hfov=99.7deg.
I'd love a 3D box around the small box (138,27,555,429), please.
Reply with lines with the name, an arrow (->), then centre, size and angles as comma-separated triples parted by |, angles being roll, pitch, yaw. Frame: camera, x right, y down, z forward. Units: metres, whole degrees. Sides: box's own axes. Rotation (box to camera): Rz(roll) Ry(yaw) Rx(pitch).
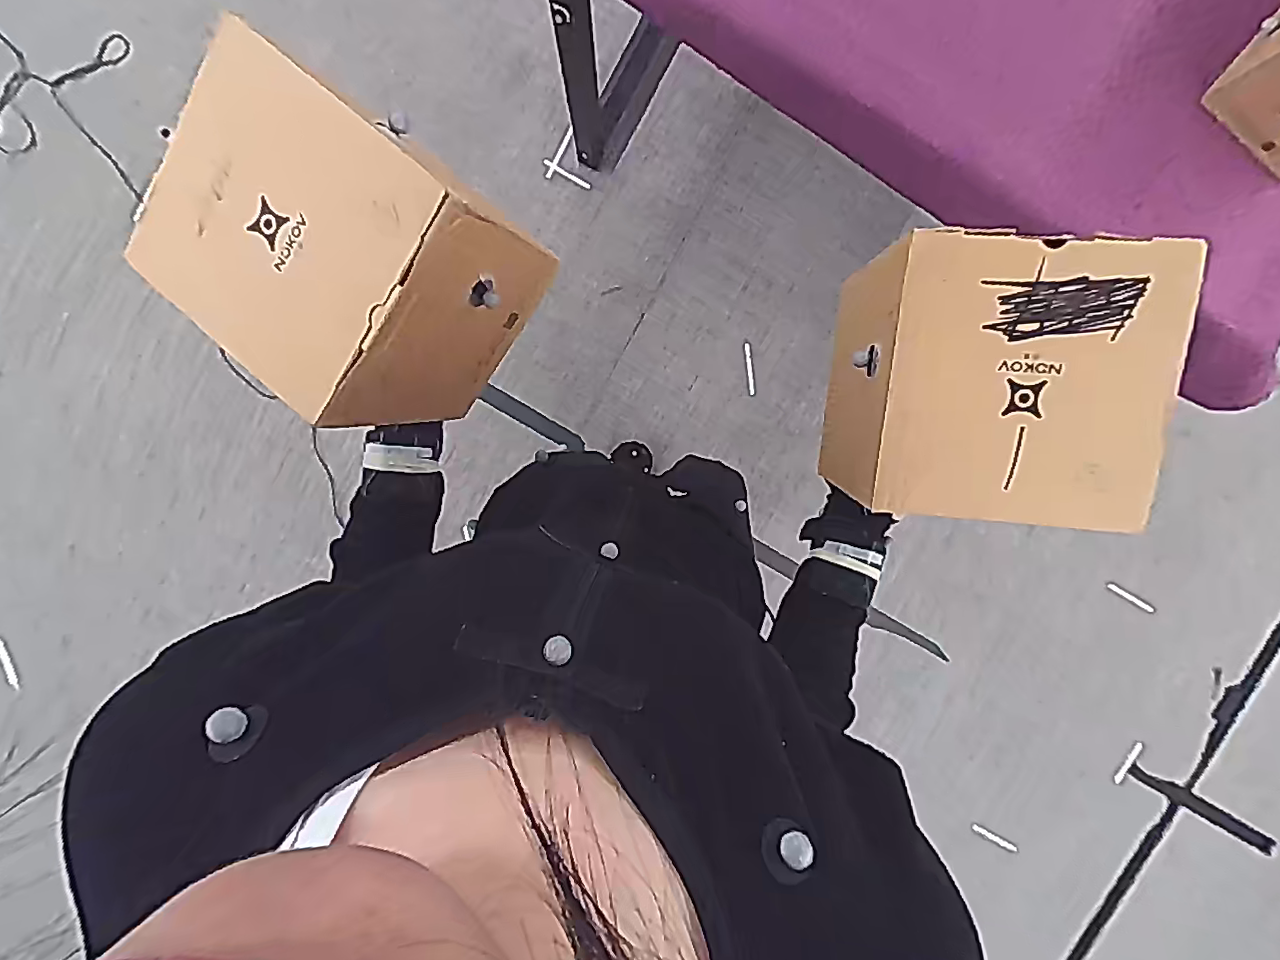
small box -> -0.193, -0.158, 0.399 | 0.179, 0.176, 0.168 | 39, 104, 6

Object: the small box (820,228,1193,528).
small box -> 0.245, -0.074, 0.415 | 0.168, 0.176, 0.179 | 5, 100, 6
